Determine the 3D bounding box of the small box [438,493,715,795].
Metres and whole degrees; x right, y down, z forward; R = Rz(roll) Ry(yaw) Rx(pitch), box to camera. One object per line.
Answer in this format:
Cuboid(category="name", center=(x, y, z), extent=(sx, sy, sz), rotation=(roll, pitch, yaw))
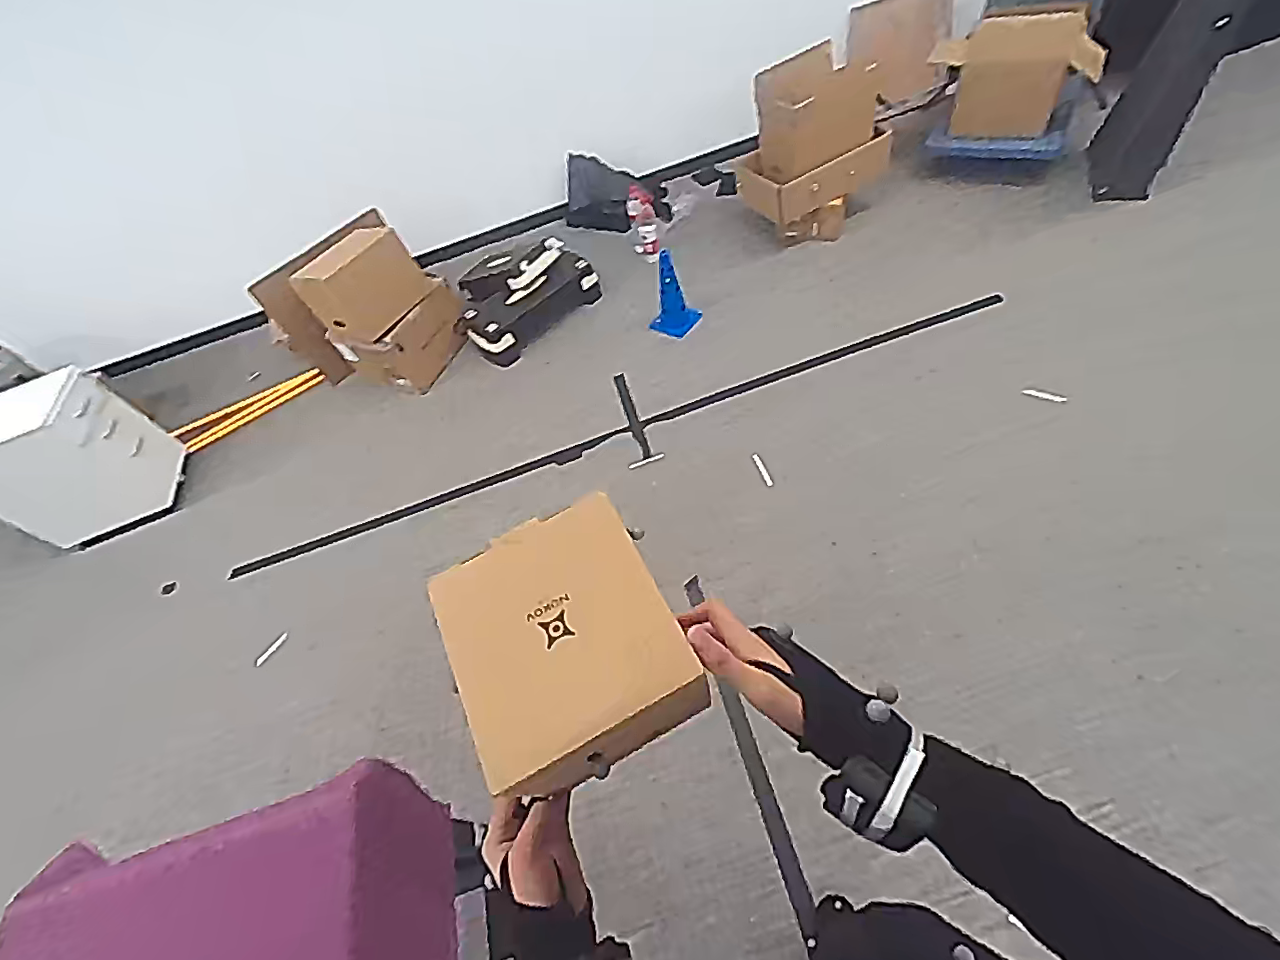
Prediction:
Cuboid(category="small box", center=(-0.045, 0.149, 0.478), extent=(0.168, 0.176, 0.179), rotation=(-28, 58, -6))
